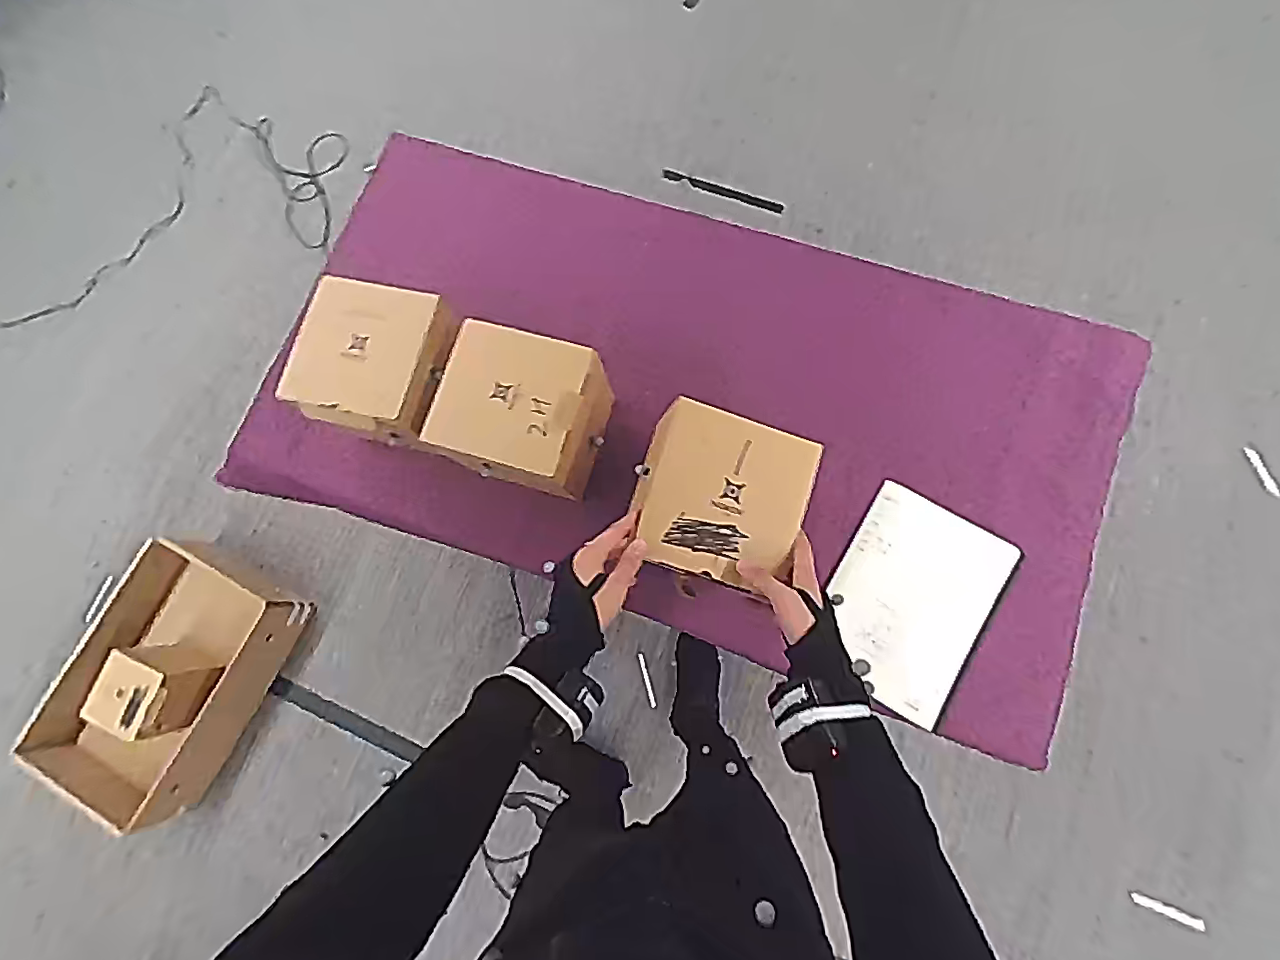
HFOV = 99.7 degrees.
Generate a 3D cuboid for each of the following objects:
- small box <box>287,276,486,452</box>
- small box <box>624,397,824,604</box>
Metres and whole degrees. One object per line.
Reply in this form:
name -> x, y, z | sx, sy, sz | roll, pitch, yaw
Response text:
small box -> -0.337, -0.151, 0.758 | 0.168, 0.176, 0.179 | 13, 79, 7
small box -> 0.085, 0.027, 0.636 | 0.168, 0.176, 0.179 | 19, 83, -5
